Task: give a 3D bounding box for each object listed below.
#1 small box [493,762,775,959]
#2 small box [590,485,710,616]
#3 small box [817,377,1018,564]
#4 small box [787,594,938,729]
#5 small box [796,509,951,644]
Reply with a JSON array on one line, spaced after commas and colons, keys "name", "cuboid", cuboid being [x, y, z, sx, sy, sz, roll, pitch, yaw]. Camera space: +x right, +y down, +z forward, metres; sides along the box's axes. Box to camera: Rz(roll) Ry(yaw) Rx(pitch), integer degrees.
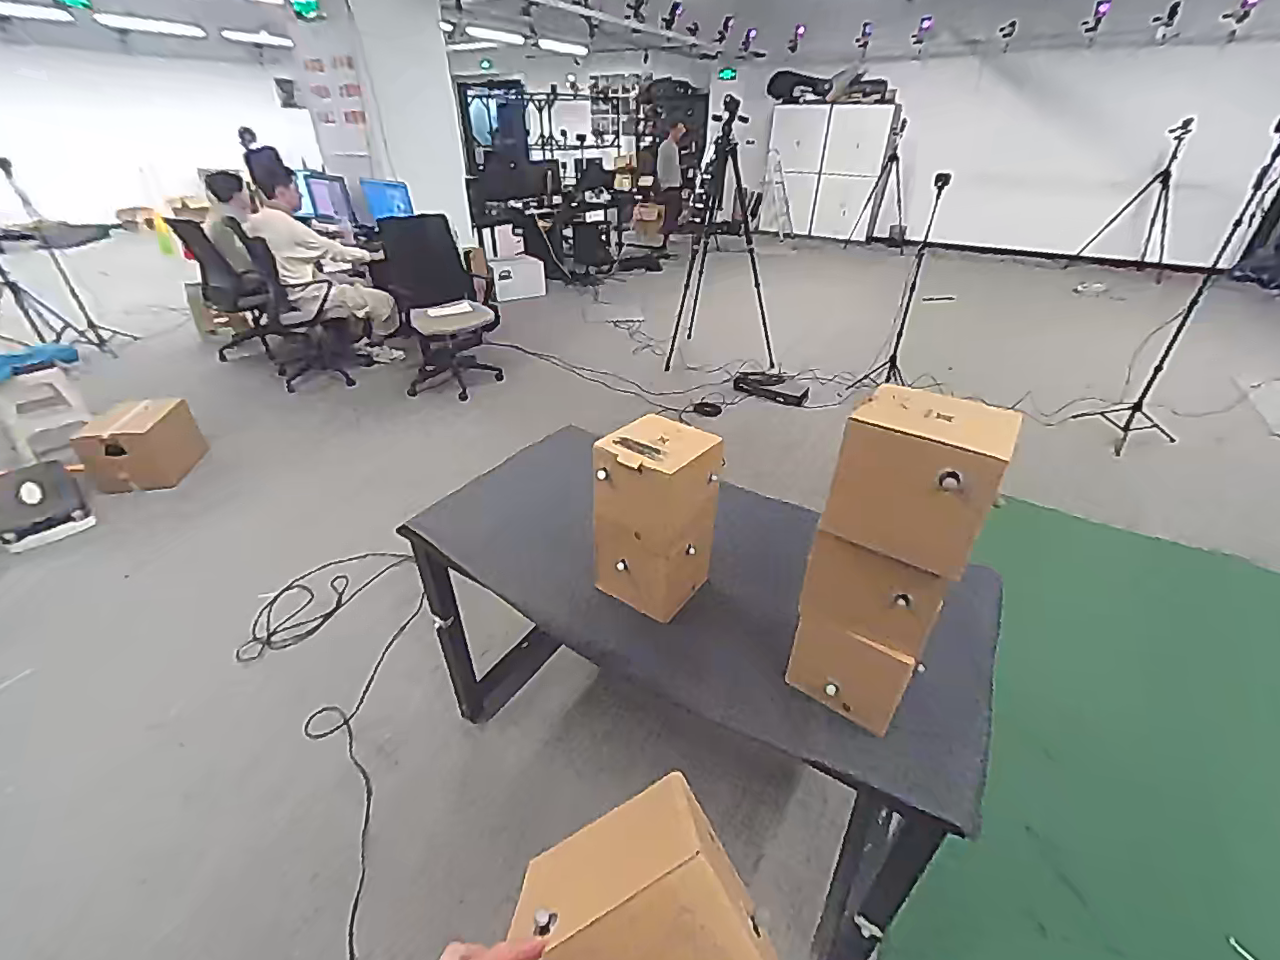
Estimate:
[{"name": "small box", "cuboid": [0.002, 0.379, 0.457, 0.179, 0.168, 0.176, -30, -6, -5]}, {"name": "small box", "cuboid": [0.019, 0.138, 1.073, 0.179, 0.176, 0.168, 20, 37, 30]}, {"name": "small box", "cuboid": [0.352, -0.015, 0.701, 0.179, 0.176, 0.168, 21, 34, 30]}, {"name": "small box", "cuboid": [0.355, 0.257, 0.883, 0.168, 0.176, 0.179, 23, 37, 32]}, {"name": "small box", "cuboid": [0.350, 0.115, 0.806, 0.179, 0.176, 0.168, 17, 33, 27]}]
